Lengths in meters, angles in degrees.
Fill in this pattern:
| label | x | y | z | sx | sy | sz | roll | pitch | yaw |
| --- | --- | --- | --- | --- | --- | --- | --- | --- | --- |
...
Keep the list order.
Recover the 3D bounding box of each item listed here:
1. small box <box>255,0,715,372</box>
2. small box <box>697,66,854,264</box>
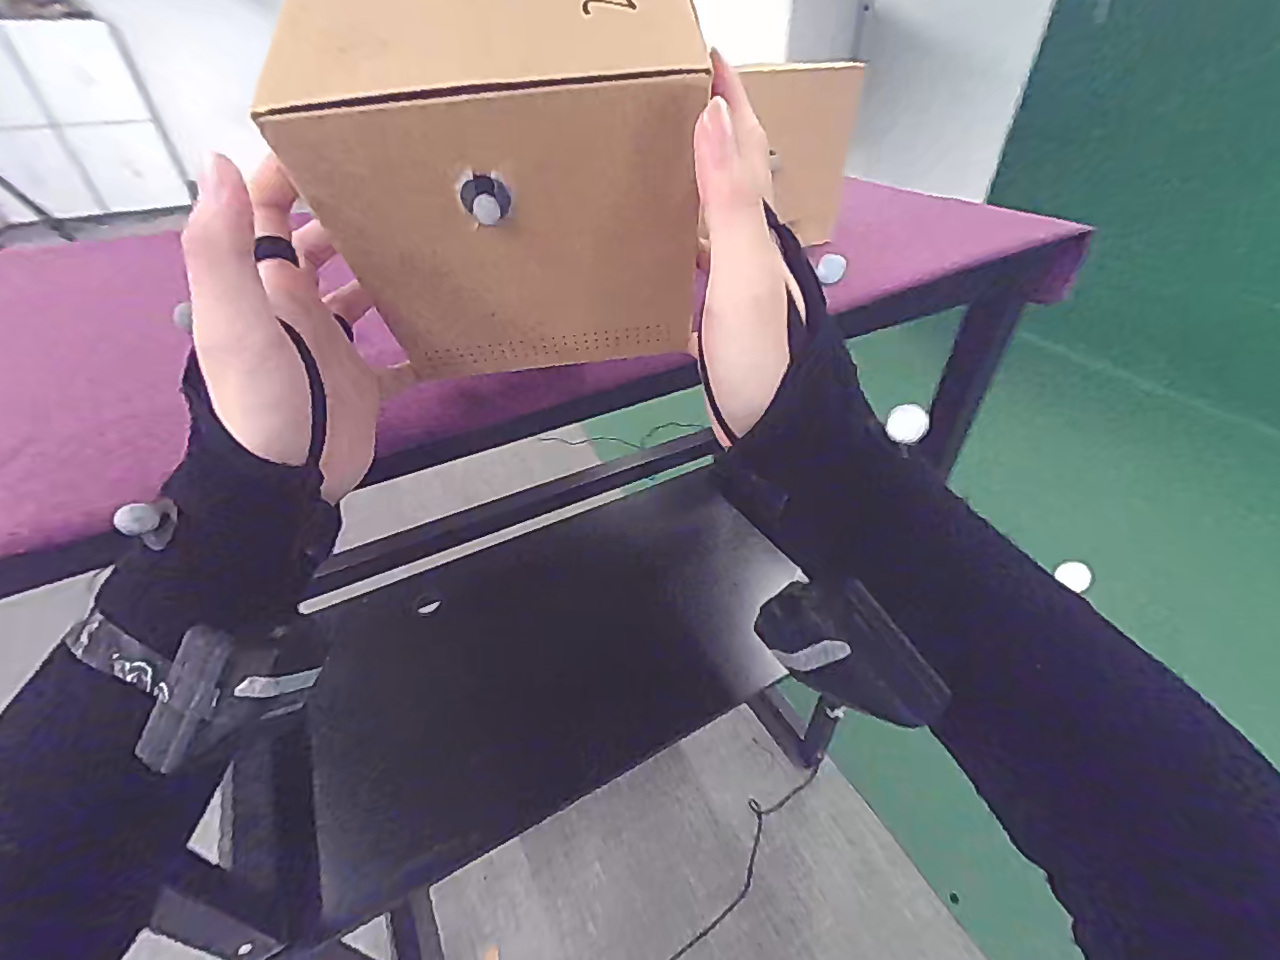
| label | x | y | z | sx | sy | sz | roll | pitch | yaw |
| --- | --- | --- | --- | --- | --- | --- | --- | --- | --- |
| small box | -0.061 | -0.177 | 0.305 | 0.179 | 0.176 | 0.168 | -6 | 65 | -1 |
| small box | 0.105 | -0.353 | 0.608 | 0.168 | 0.176 | 0.179 | -18 | 40 | -19 |
